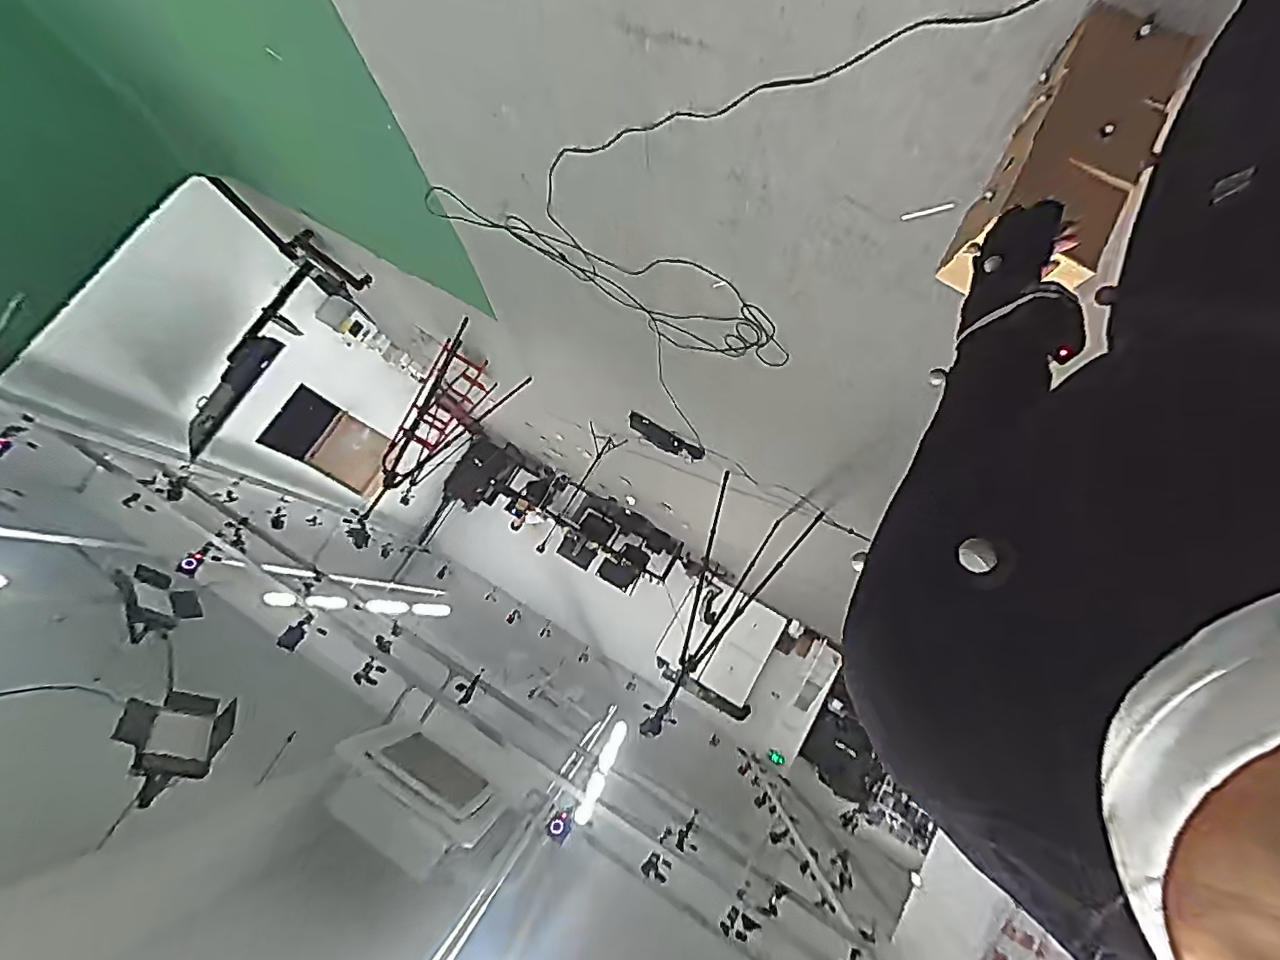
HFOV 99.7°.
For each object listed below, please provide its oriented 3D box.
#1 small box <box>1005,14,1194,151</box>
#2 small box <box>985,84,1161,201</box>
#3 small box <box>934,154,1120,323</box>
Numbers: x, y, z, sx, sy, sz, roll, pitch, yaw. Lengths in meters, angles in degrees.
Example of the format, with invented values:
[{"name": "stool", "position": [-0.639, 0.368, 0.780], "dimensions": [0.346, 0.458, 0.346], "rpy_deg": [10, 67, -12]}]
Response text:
[{"name": "small box", "position": [0.831, -0.694, 0.988], "dimensions": [0.179, 0.176, 0.168], "rpy_deg": [31, 172, 11]}, {"name": "small box", "position": [0.749, -0.551, 0.959], "dimensions": [0.179, 0.176, 0.168], "rpy_deg": [29, 168, 7]}, {"name": "small box", "position": [0.665, -0.414, 0.935], "dimensions": [0.179, 0.176, 0.168], "rpy_deg": [32, 169, 2]}]
